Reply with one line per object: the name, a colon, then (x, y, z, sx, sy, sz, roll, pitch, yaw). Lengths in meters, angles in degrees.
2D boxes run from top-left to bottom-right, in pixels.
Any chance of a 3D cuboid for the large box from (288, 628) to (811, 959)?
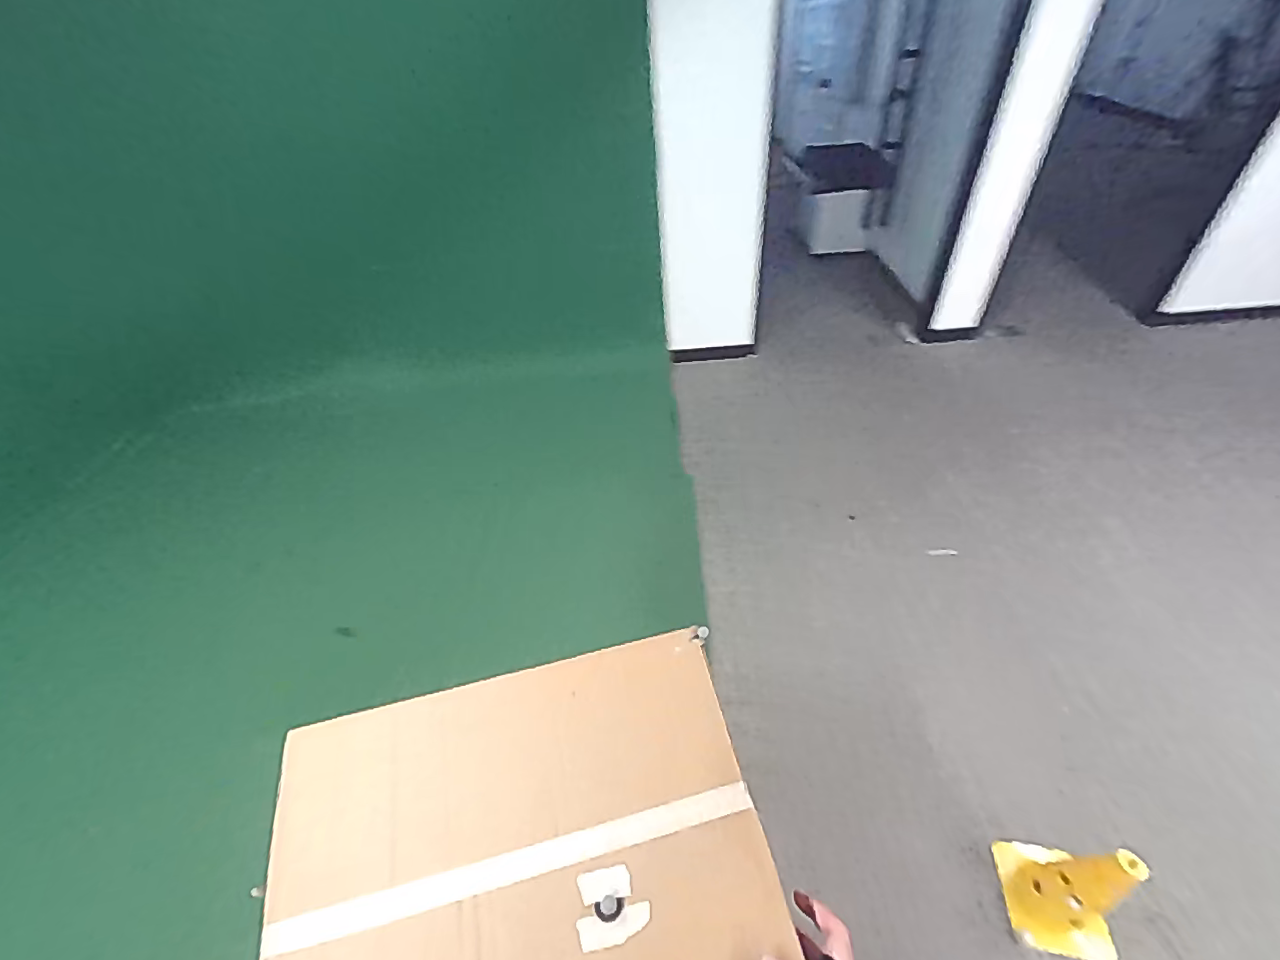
large box: (-0.088, 0.404, 0.584, 0.408, 0.320, 0.320, -12, 57, -7)
